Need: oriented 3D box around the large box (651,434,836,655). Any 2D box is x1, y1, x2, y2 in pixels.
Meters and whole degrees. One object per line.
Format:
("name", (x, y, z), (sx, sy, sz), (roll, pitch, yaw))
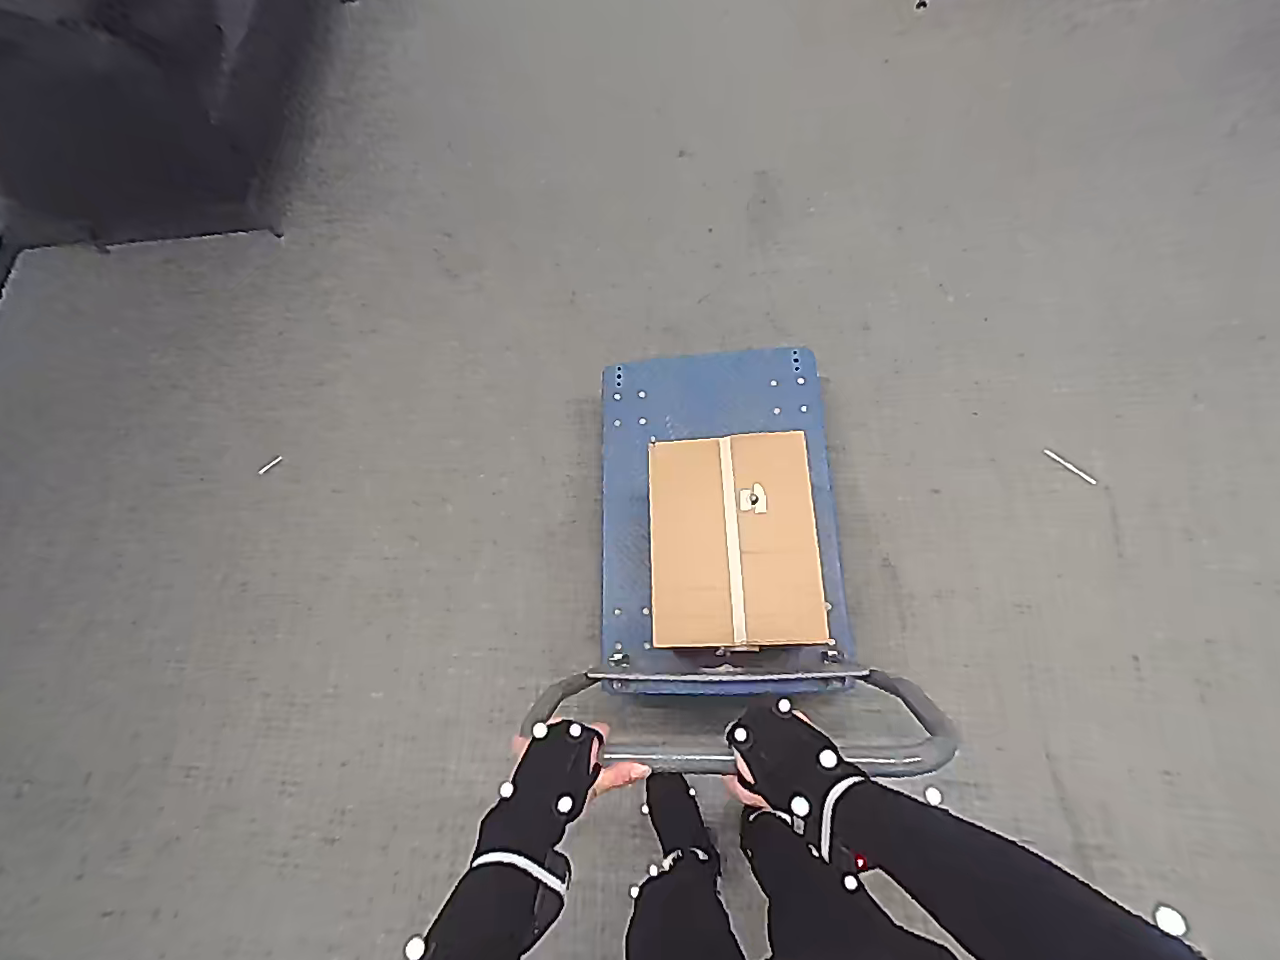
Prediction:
("large box", (0.205, 0.156, 1.155), (0.320, 0.320, 0.408), (-4, 71, 8))
